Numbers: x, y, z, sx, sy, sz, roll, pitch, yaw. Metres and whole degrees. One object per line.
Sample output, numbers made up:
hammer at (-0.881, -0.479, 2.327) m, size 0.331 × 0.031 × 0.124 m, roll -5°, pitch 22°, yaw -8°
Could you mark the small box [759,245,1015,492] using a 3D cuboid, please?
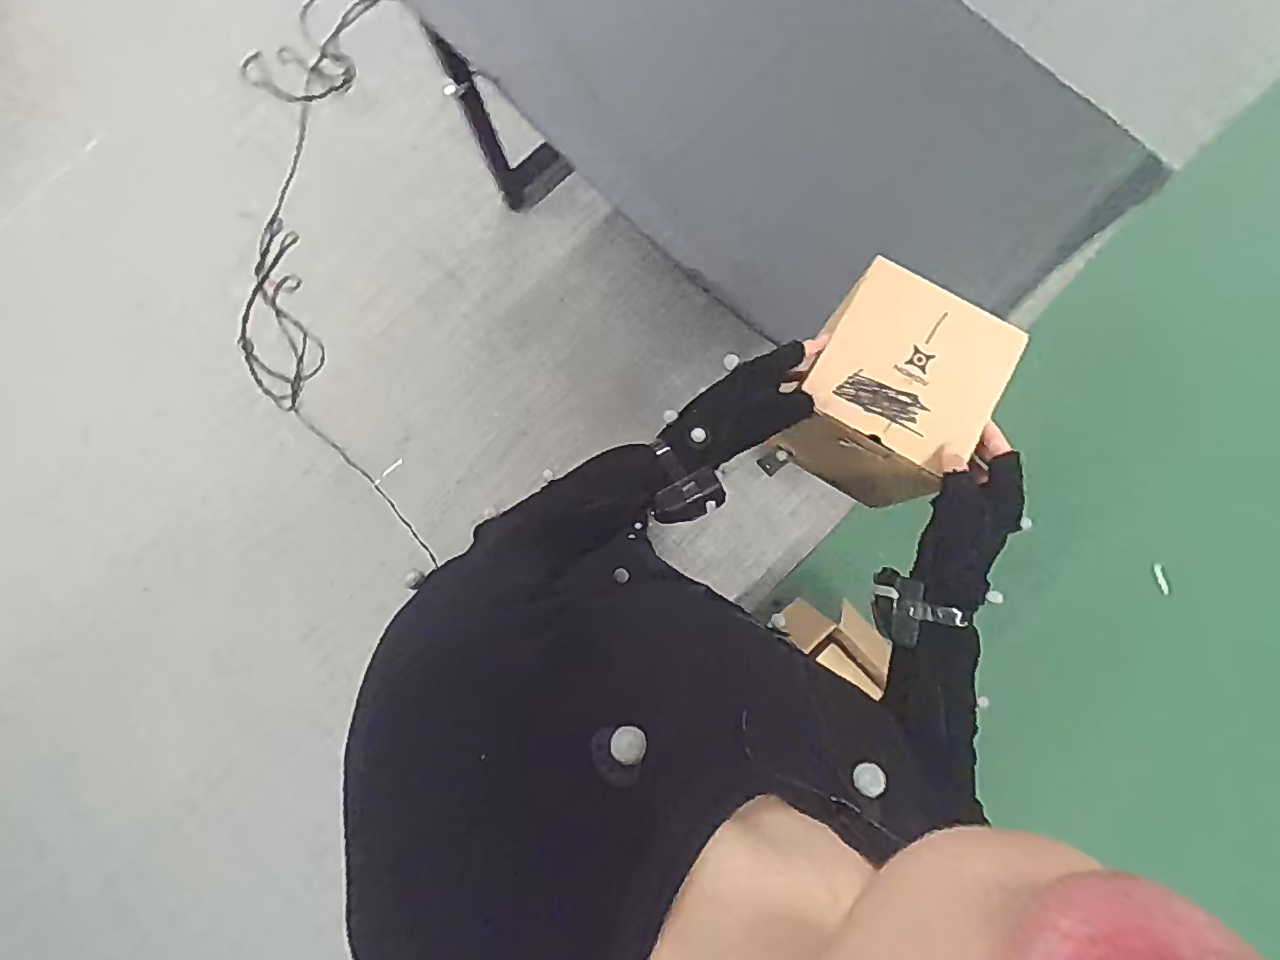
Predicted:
small box at (0.246, -0.104, 0.587) m, size 0.168 × 0.176 × 0.179 m, roll 29°, pitch 81°, yaw 5°
